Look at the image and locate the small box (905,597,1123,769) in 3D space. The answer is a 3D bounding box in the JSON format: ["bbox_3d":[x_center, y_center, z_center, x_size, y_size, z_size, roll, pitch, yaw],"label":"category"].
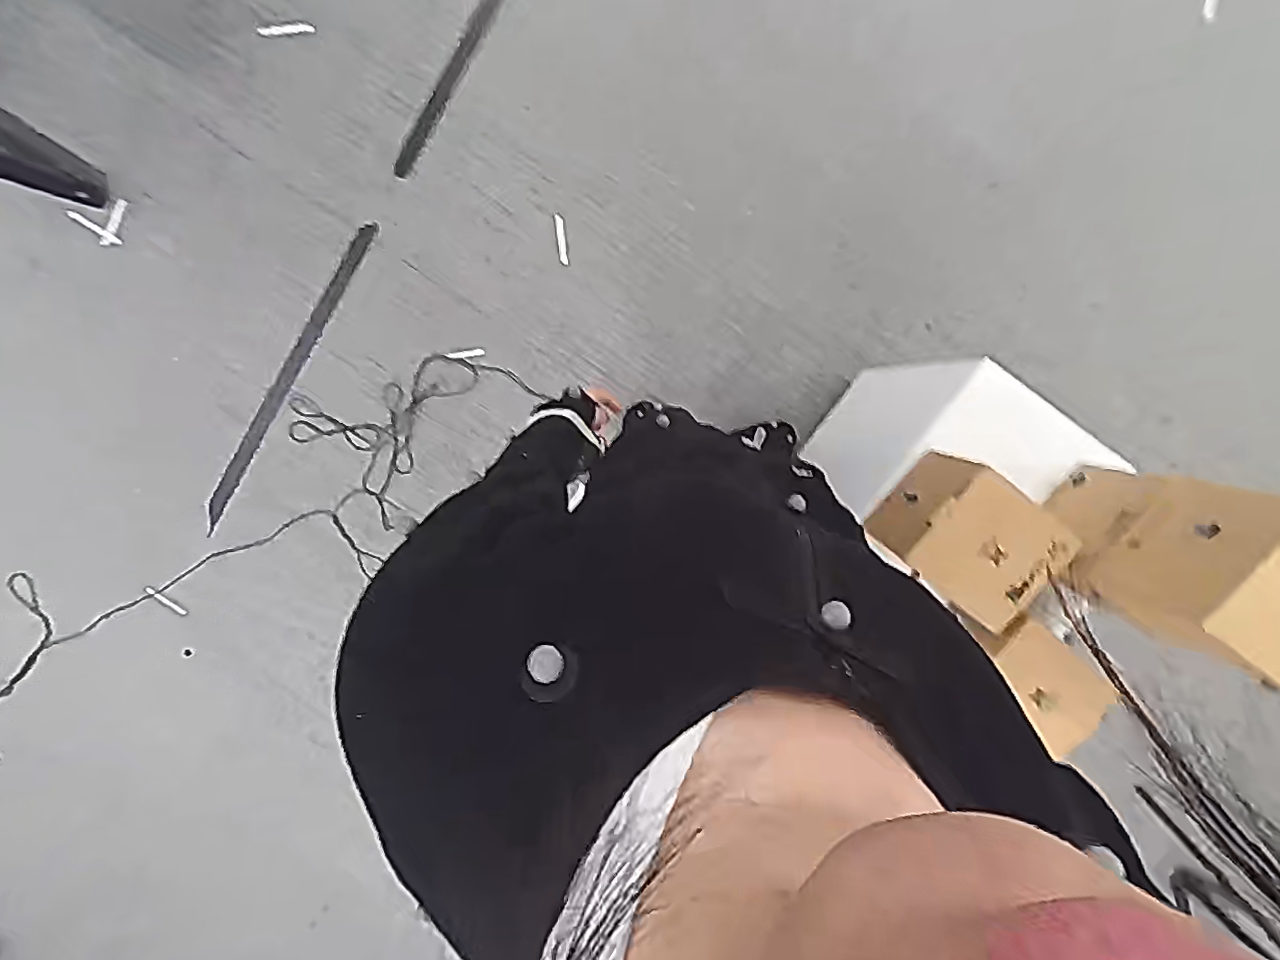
[{"bbox_3d":[0.556,0.288,0.832,0.179,0.176,0.168,36,98,-2],"label":"small box"}]

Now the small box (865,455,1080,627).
[{"bbox_3d":[0.470,0.077,0.799,0.179,0.176,0.168,38,100,-3],"label":"small box"}]

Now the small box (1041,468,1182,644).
[{"bbox_3d":[0.703,0.097,0.788,0.179,0.176,0.168,37,100,-3],"label":"small box"}]

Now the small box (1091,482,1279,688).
[{"bbox_3d":[0.695,0.117,0.627,0.179,0.176,0.168,34,101,-2],"label":"small box"}]
